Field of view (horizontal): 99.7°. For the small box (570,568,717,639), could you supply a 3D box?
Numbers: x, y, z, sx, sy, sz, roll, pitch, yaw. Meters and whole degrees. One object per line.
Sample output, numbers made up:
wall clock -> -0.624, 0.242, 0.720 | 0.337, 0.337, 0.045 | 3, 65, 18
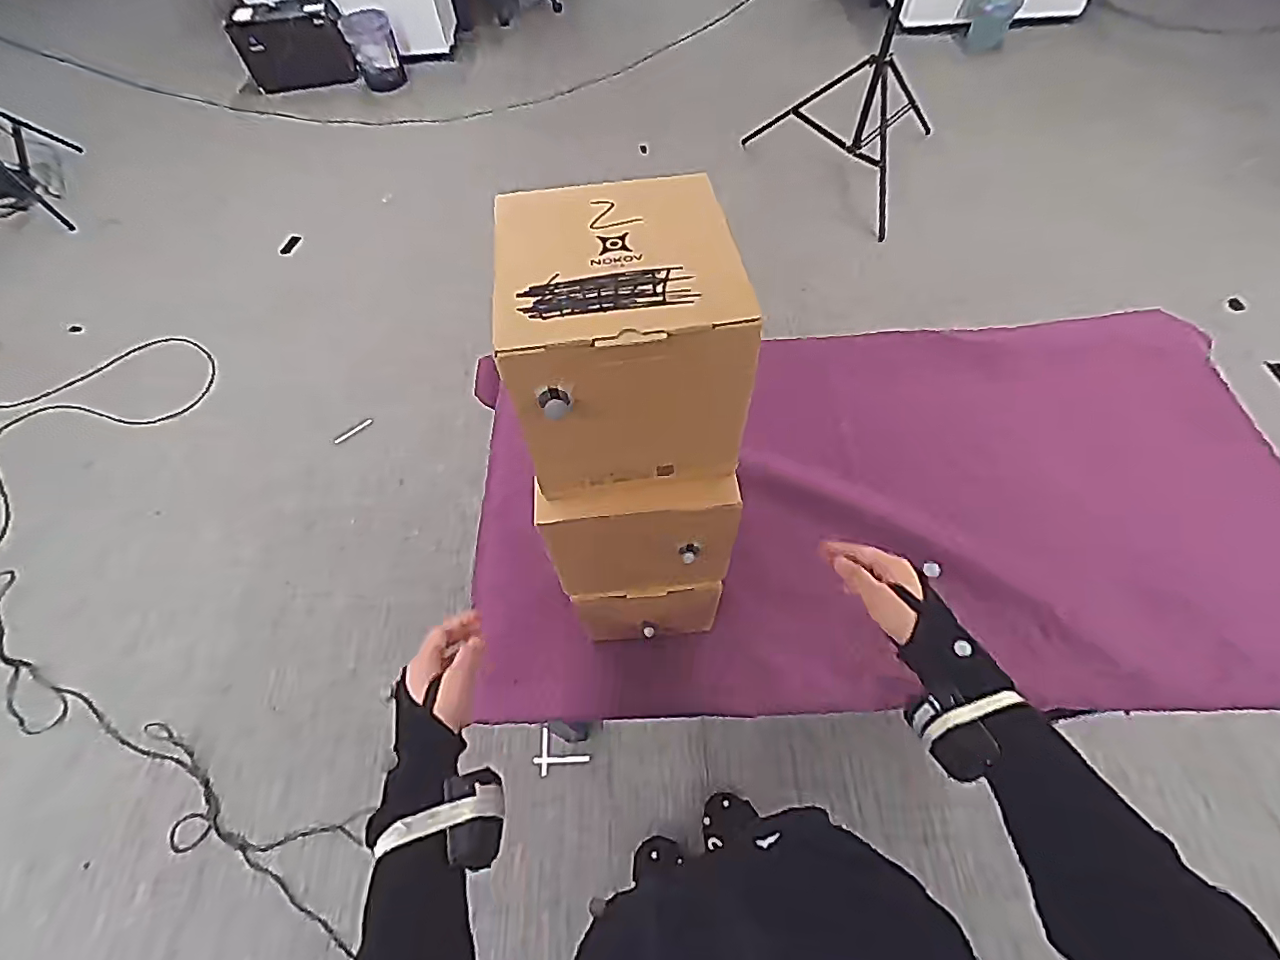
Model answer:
small box -> 0.001, 0.093, 0.701 | 0.168, 0.176, 0.179 | -5, 59, 0

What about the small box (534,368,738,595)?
small box -> -0.007, 0.008, 0.564 | 0.179, 0.176, 0.168 | -6, 57, 0
